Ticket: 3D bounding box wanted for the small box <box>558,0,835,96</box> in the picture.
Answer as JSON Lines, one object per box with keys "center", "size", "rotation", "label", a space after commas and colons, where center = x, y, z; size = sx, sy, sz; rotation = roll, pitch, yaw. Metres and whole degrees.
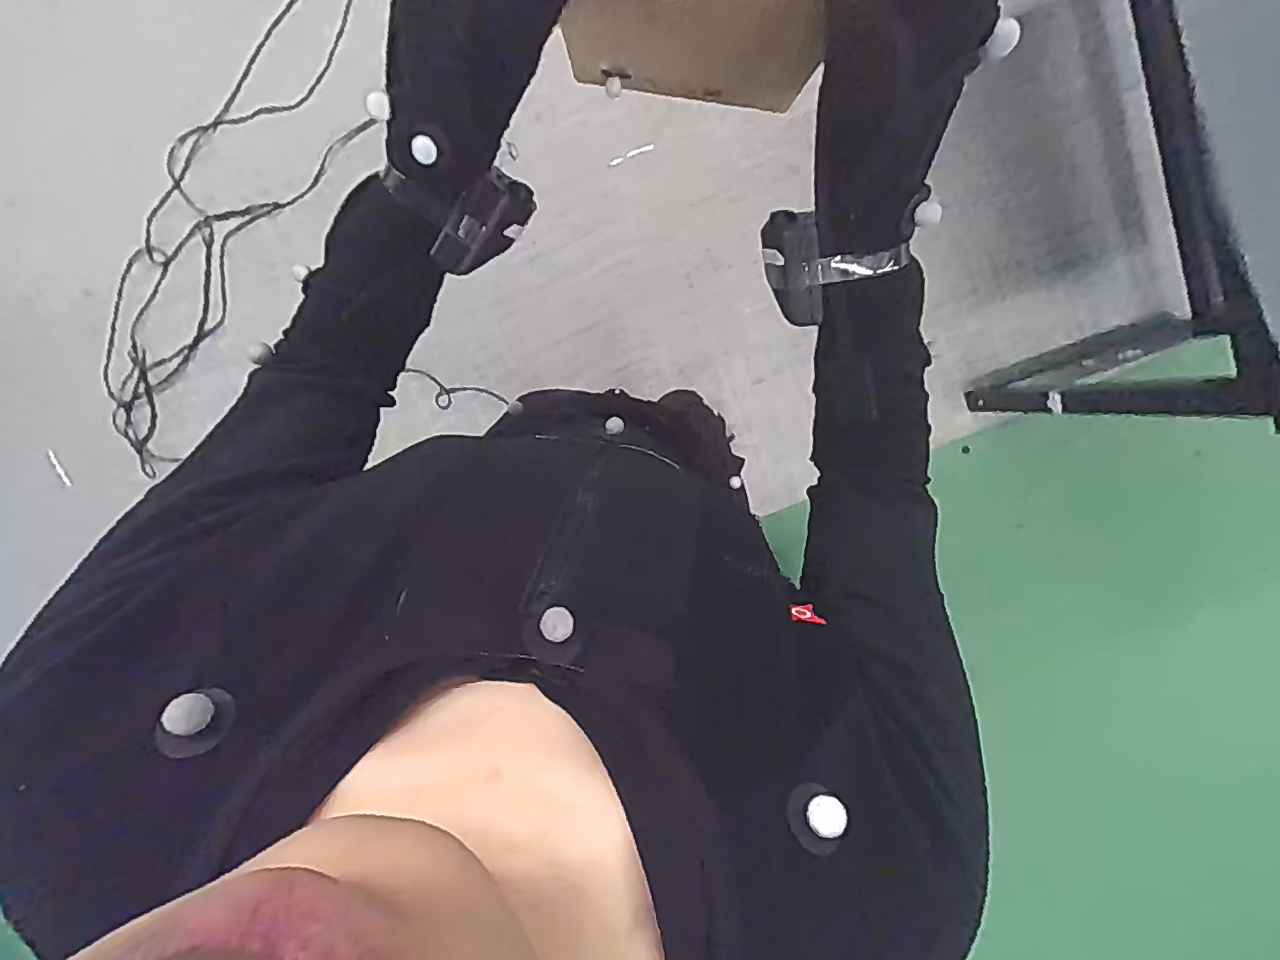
{"center": [0.040, -0.356, 0.310], "size": [0.168, 0.176, 0.179], "rotation": [6, 106, -2], "label": "small box"}
